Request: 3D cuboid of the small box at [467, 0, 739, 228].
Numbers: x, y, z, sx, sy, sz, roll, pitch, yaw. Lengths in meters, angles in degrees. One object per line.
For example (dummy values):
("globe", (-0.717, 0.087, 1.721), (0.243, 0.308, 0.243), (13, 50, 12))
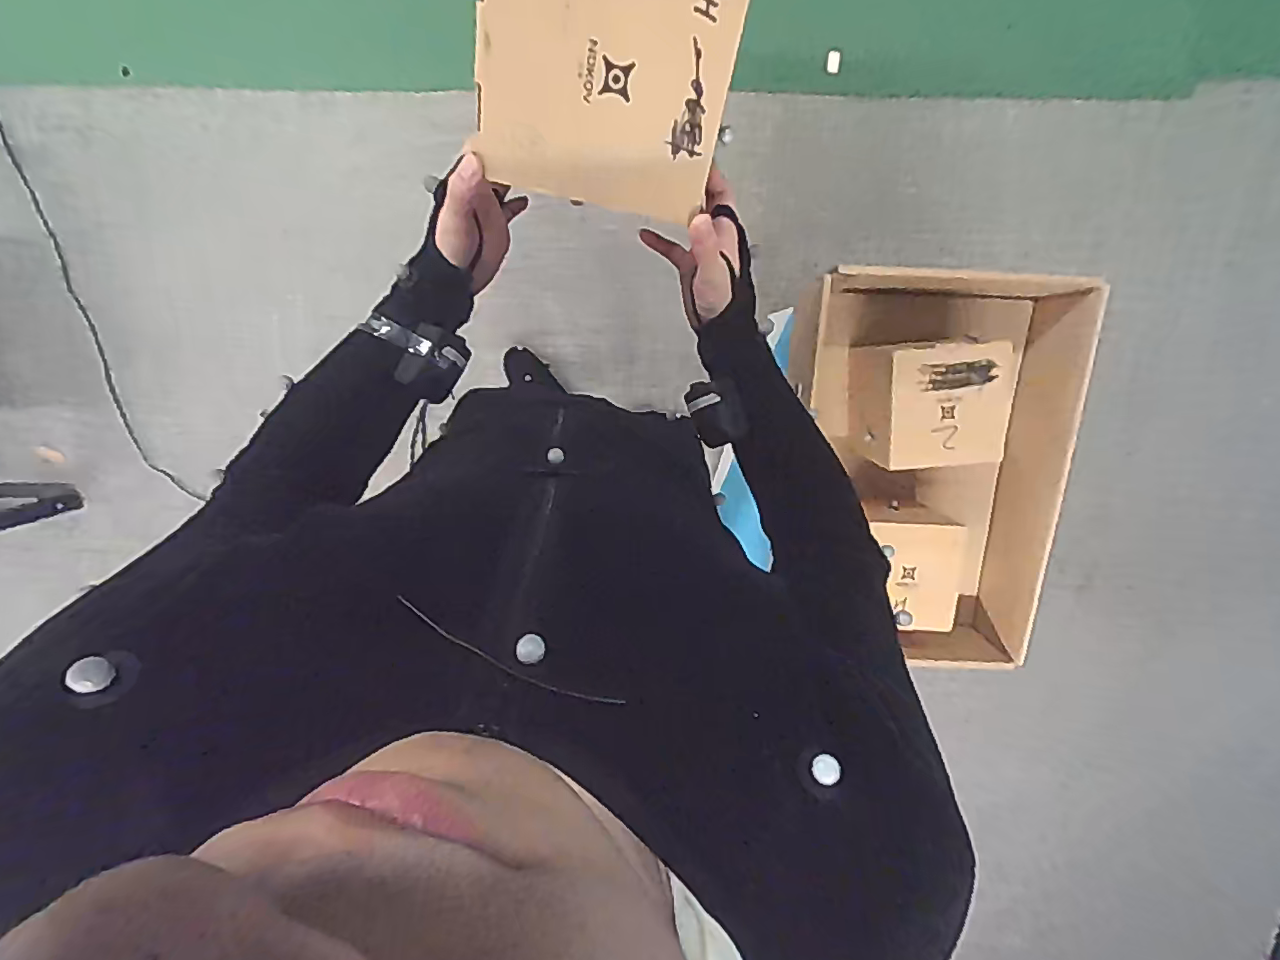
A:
("small box", (-0.028, -0.323, 0.443), (0.179, 0.176, 0.168), (11, 124, -4))
